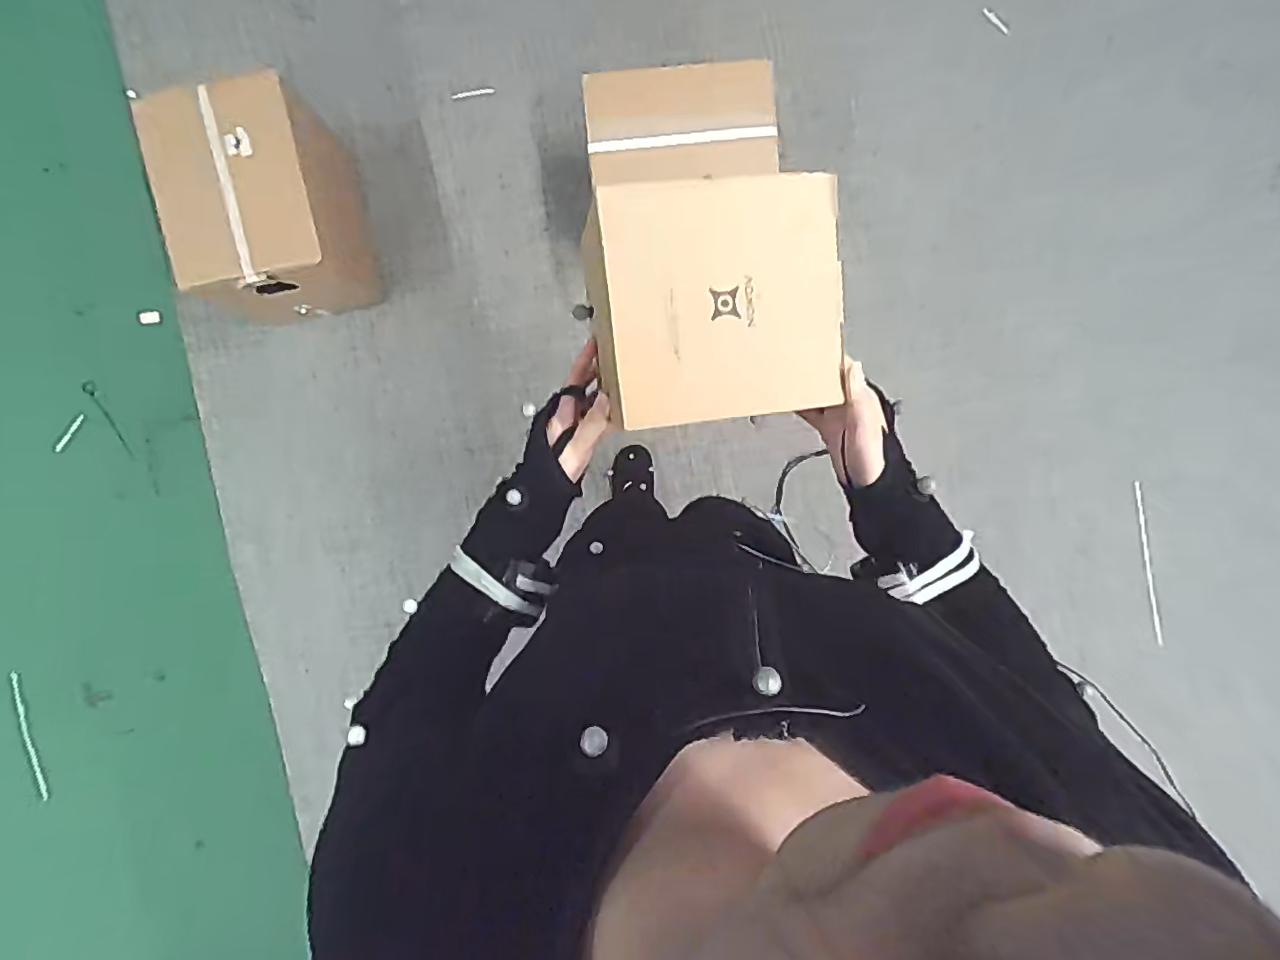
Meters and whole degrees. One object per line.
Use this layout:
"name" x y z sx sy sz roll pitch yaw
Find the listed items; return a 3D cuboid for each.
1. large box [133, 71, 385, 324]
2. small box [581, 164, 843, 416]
"large box" -0.862 -0.630 1.277 0.320 0.320 0.408 -12 93 -1
"small box" 0.049 -0.149 0.461 0.179 0.176 0.168 -7 101 -8
